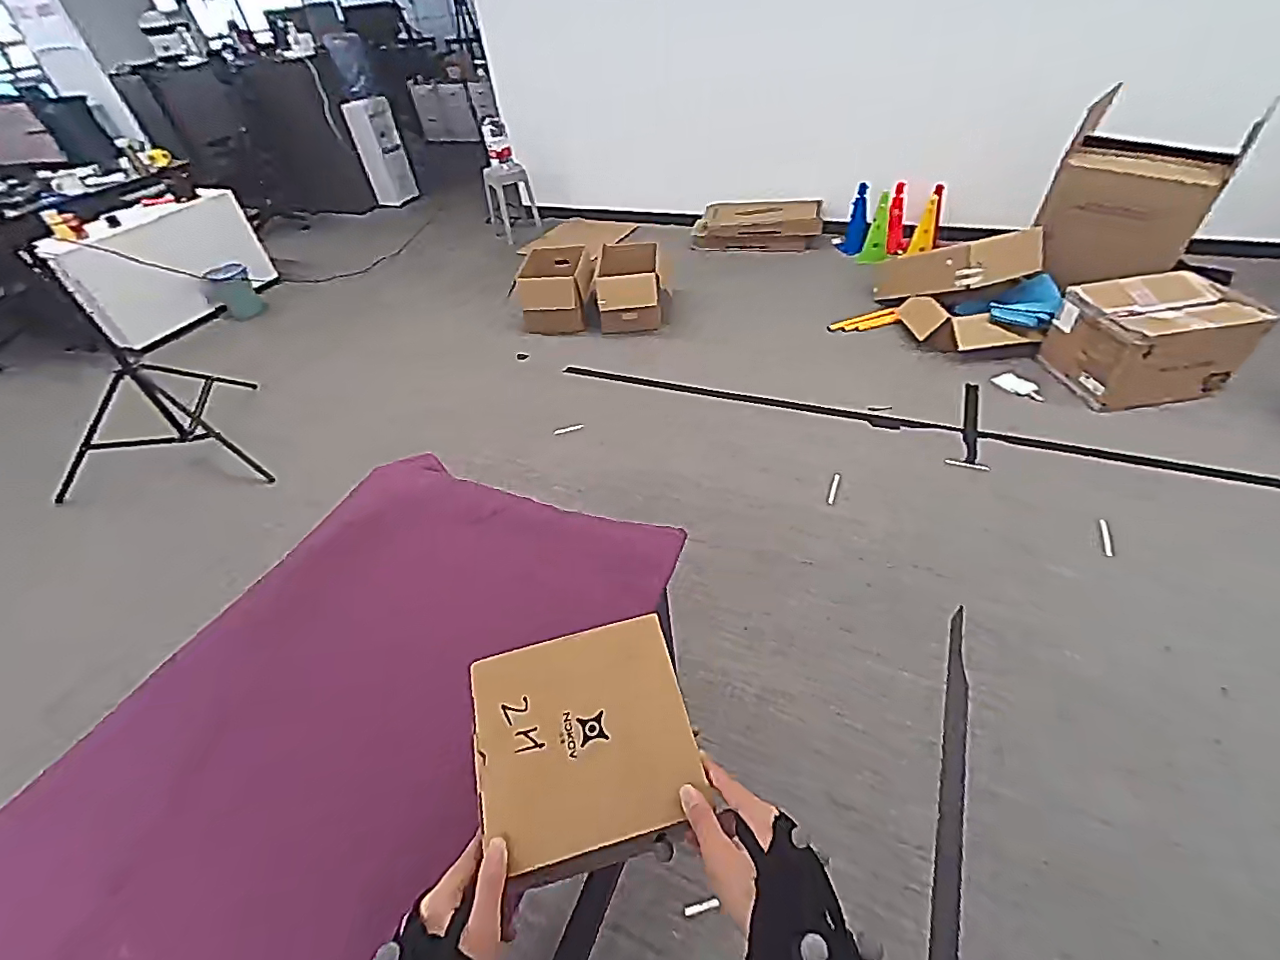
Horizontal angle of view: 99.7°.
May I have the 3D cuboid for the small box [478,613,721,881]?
[{"bbox_3d":[-0.038,0.251,0.505,0.179,0.176,0.168,-14,52,-6],"label":"small box"}]
